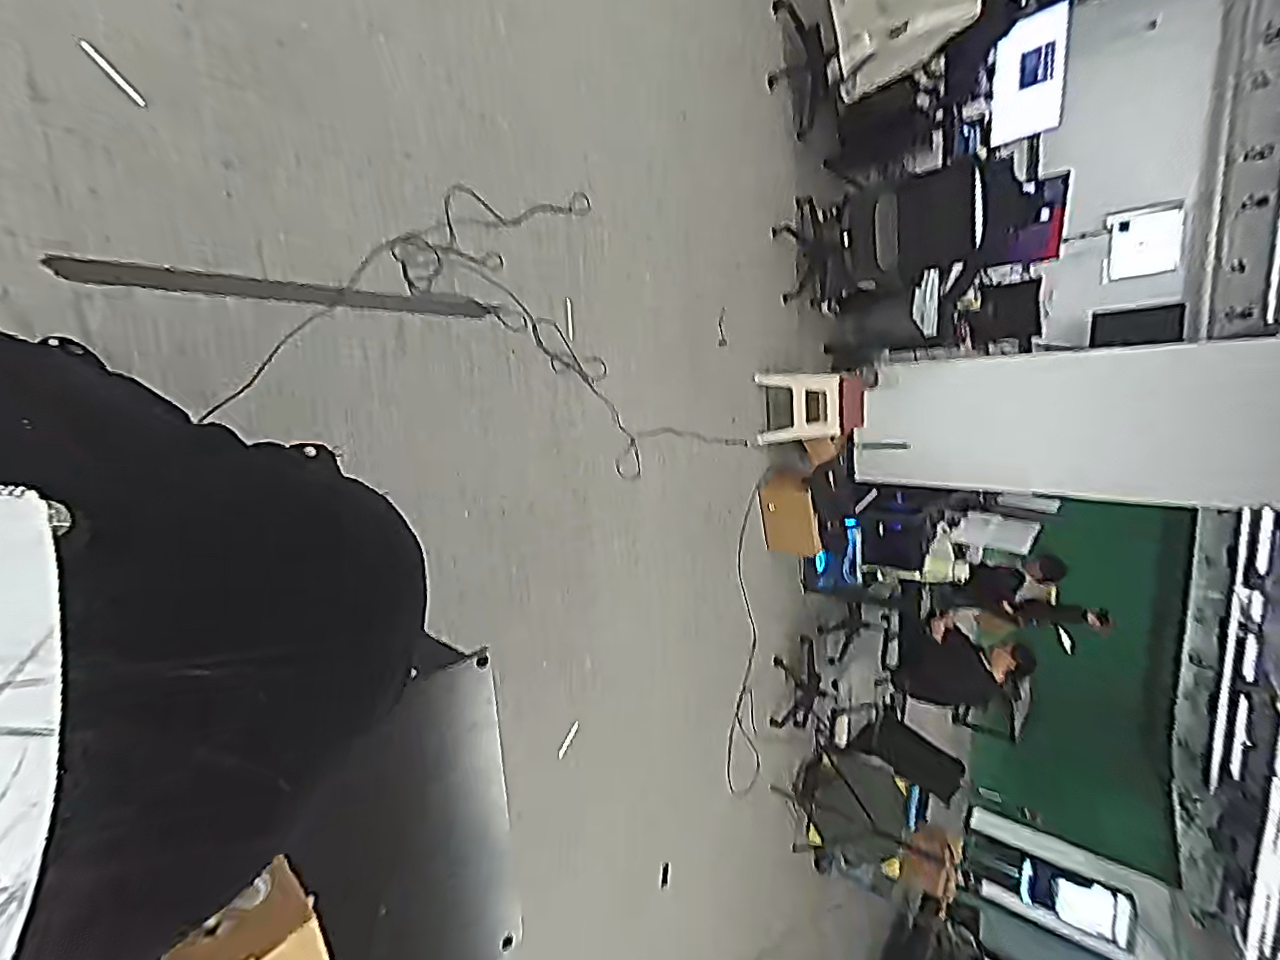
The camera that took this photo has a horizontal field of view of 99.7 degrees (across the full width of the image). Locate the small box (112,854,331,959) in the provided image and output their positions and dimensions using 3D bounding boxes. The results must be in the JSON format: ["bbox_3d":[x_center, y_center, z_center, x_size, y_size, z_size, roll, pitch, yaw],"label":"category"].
[{"bbox_3d":[-0.477,0.584,0.631,0.168,0.176,0.179,-20,108,-46],"label":"small box"}]
